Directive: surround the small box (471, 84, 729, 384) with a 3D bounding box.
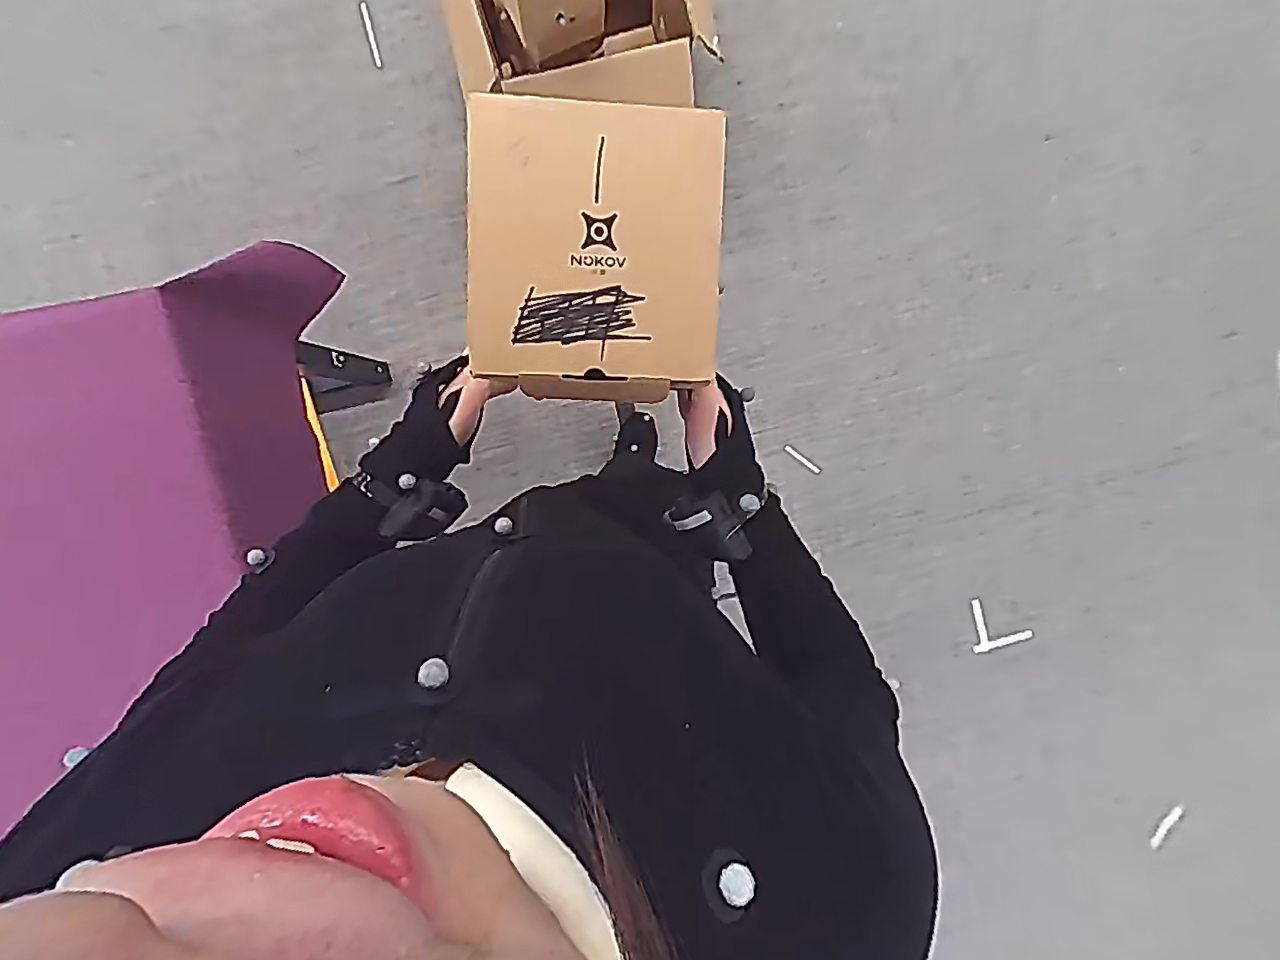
[{"bbox_3d":[-0.033,-0.169,0.431,0.168,0.176,0.179,1,98,-5],"label":"small box"}]

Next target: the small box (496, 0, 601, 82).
[{"bbox_3d":[-0.191,-0.987,1.121,0.179,0.176,0.168,-35,99,-1],"label":"small box"}]
